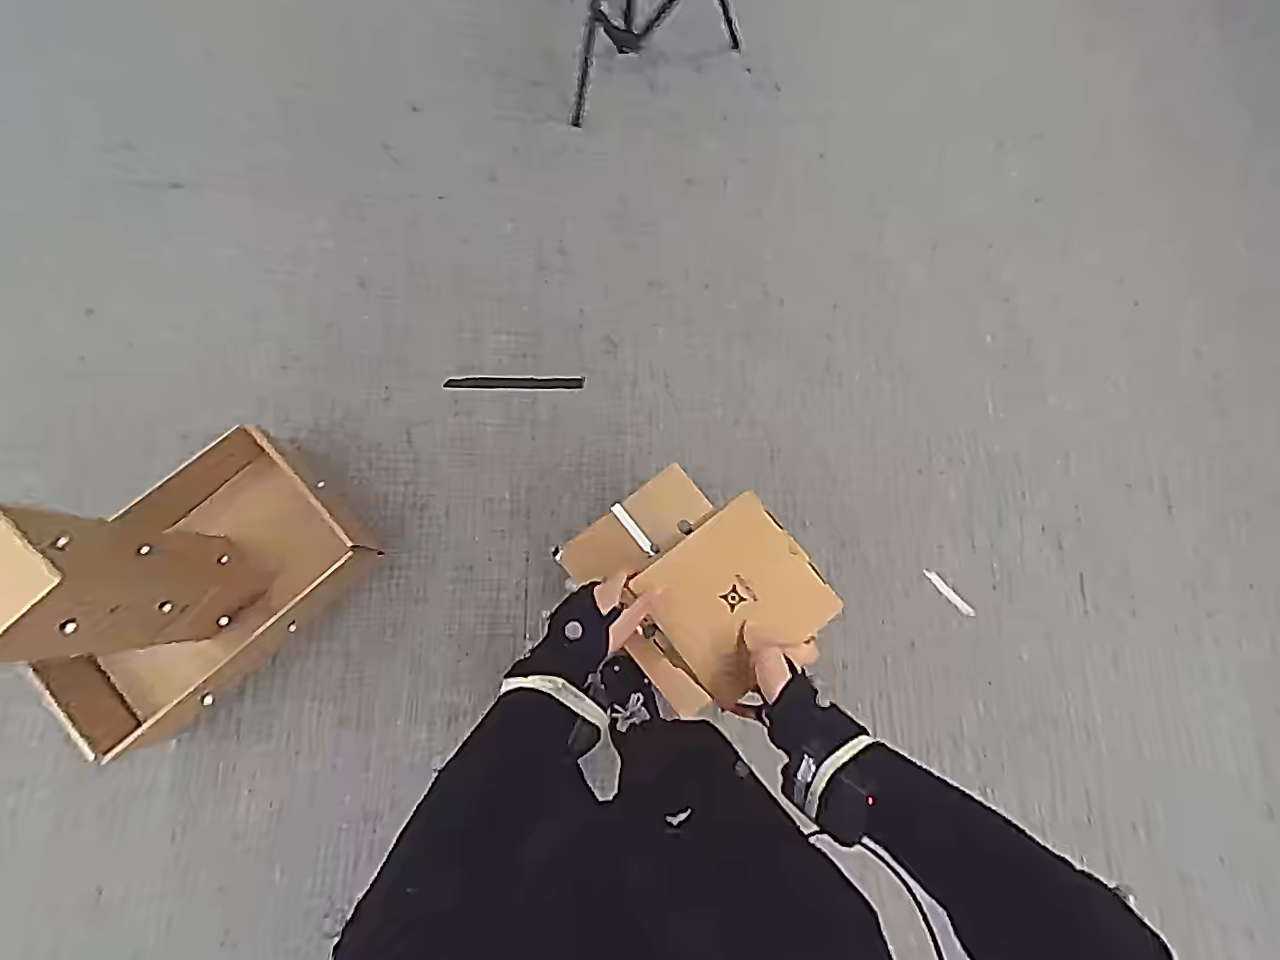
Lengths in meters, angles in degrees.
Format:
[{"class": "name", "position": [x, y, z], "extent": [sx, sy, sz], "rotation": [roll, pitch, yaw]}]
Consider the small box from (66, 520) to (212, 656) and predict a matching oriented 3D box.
[{"class": "small box", "position": [-0.970, 0.200, 1.013], "extent": [0.179, 0.176, 0.168], "rotation": [42, 78, 6]}]

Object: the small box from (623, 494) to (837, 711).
[{"class": "small box", "position": [0.094, 0.144, 0.658], "extent": [0.179, 0.176, 0.168], "rotation": [-37, 83, -11]}]

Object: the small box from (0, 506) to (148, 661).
[{"class": "small box", "position": [-0.953, 0.163, 0.852], "extent": [0.179, 0.176, 0.168], "rotation": [42, 77, 5]}]

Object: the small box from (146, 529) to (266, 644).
[{"class": "small box", "position": [-0.974, 0.231, 1.172], "extent": [0.168, 0.176, 0.179], "rotation": [-42, 85, -11]}]
